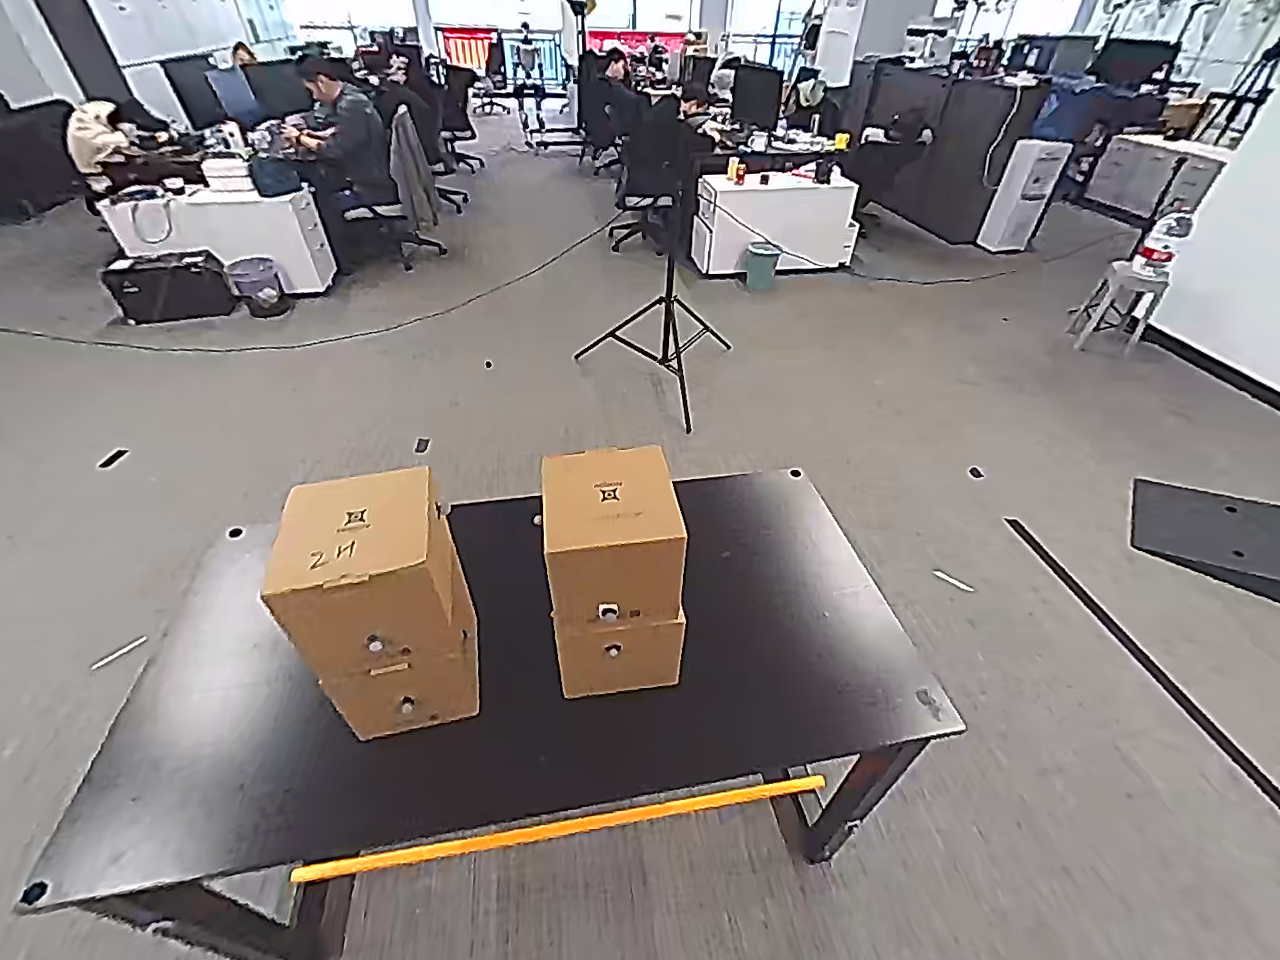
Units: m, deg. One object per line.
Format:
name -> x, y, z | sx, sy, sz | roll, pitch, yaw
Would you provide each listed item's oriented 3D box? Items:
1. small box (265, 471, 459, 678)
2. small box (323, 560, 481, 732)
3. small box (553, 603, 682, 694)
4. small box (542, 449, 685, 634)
small box -> -0.331, 0.116, 0.685 | 0.168, 0.176, 0.179 | -10, 42, -12
small box -> -0.333, 0.245, 0.791 | 0.168, 0.176, 0.179 | -9, 42, -11
small box -> -0.039, 0.210, 0.834 | 0.179, 0.176, 0.168 | -5, 41, -8
small box -> -0.041, 0.081, 0.734 | 0.168, 0.176, 0.179 | -7, 42, -7
